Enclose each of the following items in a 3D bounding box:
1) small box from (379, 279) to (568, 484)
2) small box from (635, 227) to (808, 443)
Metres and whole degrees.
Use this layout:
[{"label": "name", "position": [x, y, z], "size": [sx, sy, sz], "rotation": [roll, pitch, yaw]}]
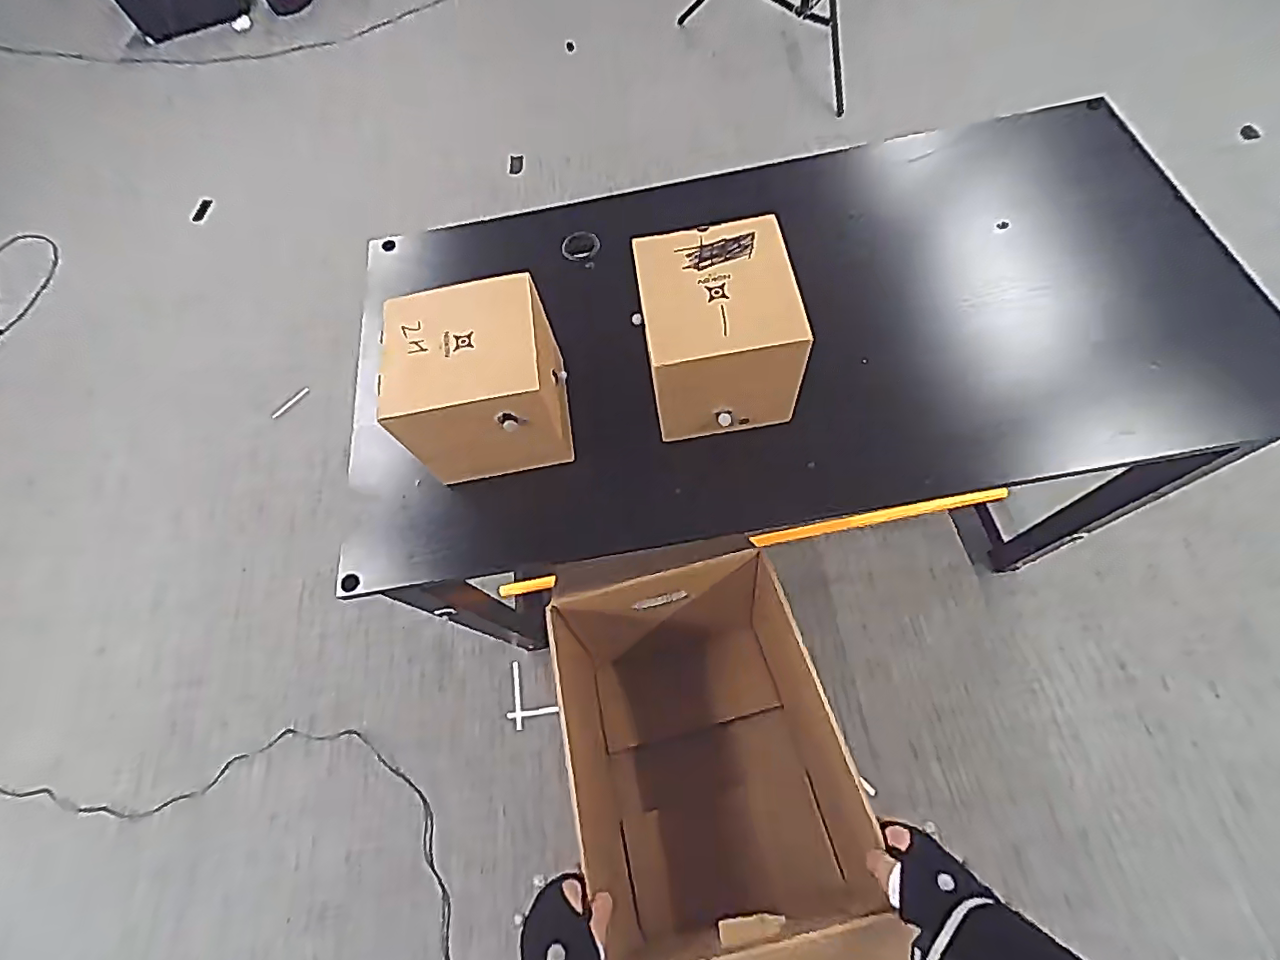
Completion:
[{"label": "small box", "position": [-0.190, -0.112, 0.664], "size": [0.179, 0.176, 0.168], "rotation": [-10, 65, 2]}, {"label": "small box", "position": [0.090, -0.167, 0.657], "size": [0.168, 0.176, 0.179], "rotation": [-9, 66, 3]}]
